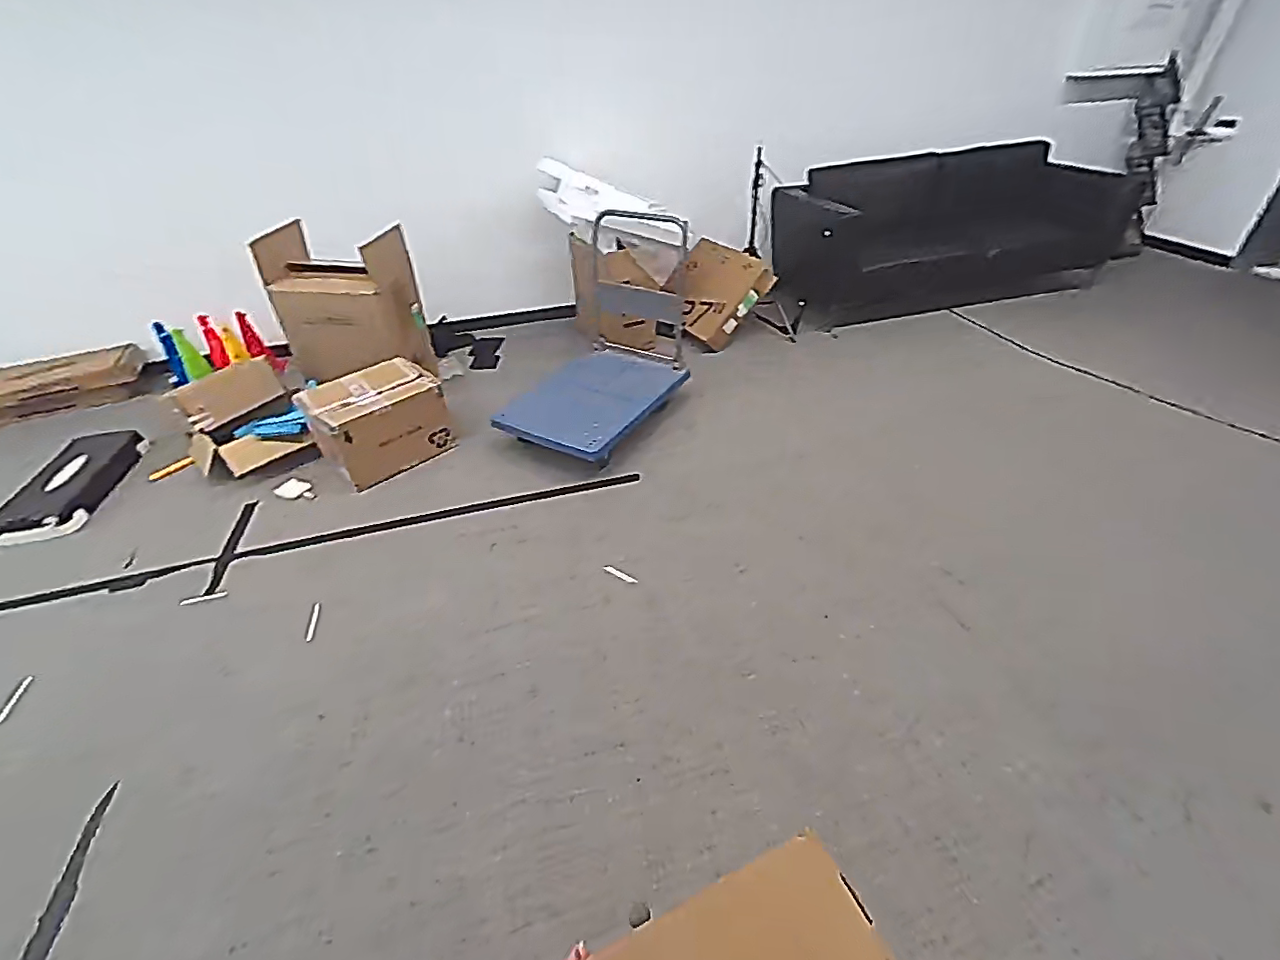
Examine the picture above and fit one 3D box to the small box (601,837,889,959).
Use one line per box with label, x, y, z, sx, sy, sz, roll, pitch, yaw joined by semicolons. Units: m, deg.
small box;0.076;0.375;0.343;0.179;0.176;0.168;-18;46;-17
